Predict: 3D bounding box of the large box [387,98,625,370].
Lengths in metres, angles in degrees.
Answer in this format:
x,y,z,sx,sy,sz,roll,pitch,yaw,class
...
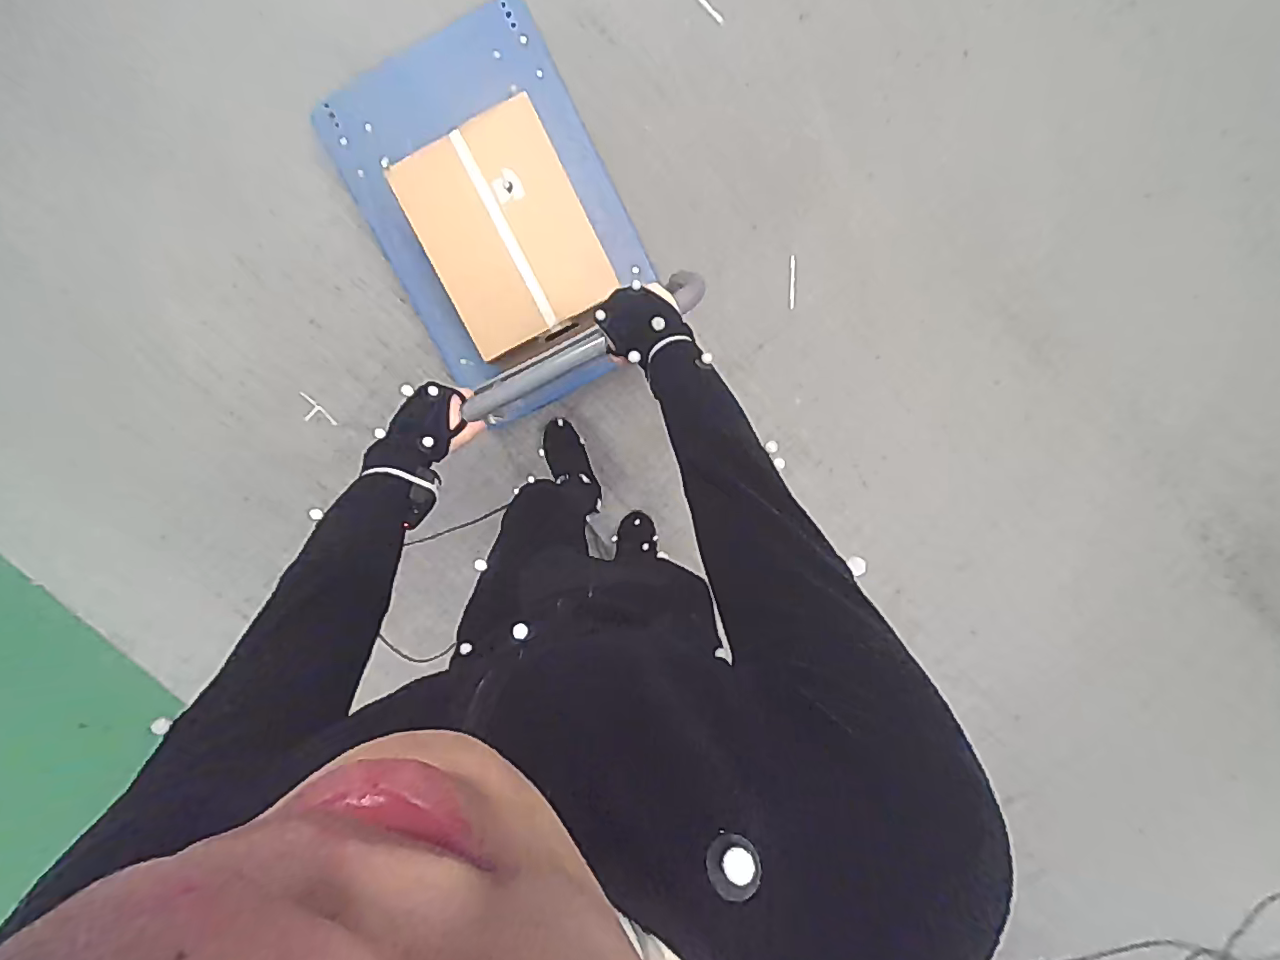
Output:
x,y,z,sx,sy,sz,roll,pitch,yaw,class
-0.259,-0.498,1.194,0.320,0.320,0.408,-27,97,2,large box
